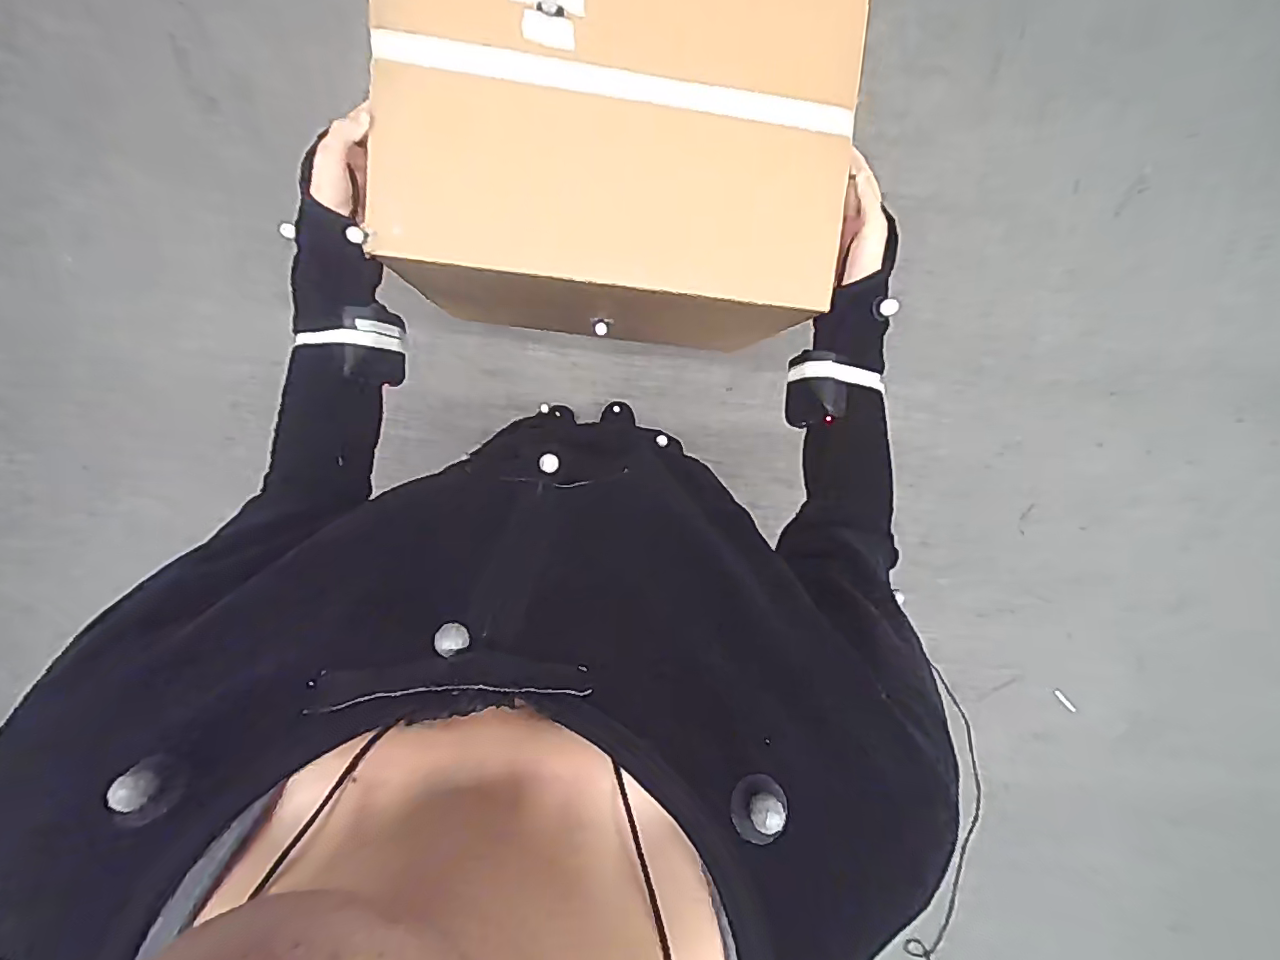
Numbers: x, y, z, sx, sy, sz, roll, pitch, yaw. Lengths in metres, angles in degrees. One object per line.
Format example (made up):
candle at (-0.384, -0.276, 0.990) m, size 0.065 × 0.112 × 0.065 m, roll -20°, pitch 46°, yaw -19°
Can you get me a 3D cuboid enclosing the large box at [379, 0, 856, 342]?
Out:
large box at (-0.029, -0.343, 0.613) m, size 0.408 × 0.320 × 0.320 m, roll 5°, pitch 96°, yaw -6°
